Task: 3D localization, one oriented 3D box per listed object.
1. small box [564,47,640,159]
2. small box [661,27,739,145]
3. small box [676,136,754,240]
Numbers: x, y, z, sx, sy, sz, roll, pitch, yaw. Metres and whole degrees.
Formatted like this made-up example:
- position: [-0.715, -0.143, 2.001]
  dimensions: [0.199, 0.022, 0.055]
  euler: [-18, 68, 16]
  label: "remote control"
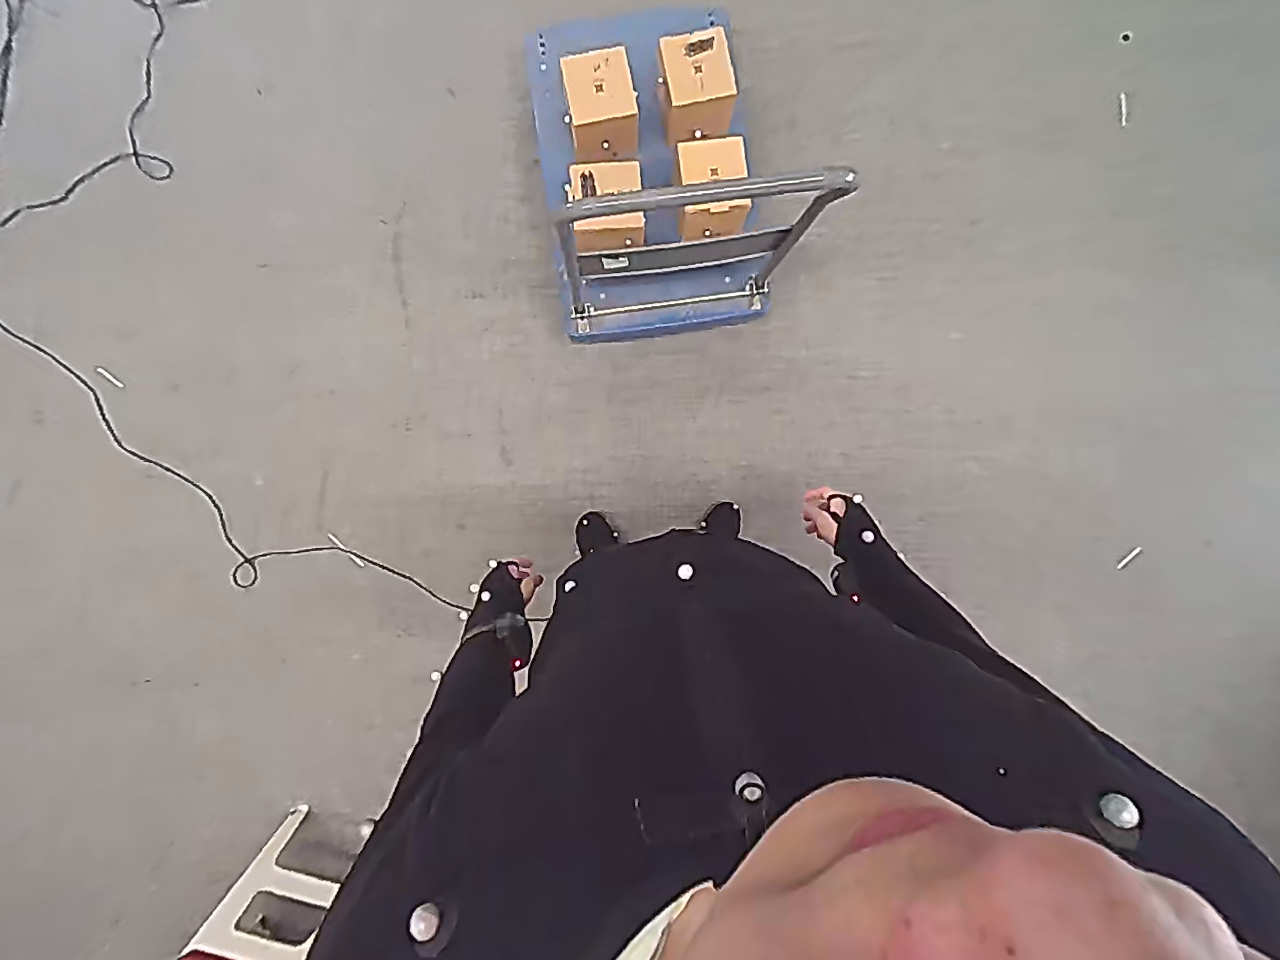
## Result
- position: [-0.094, -0.979, 1.424]
  dimensions: [0.168, 0.176, 0.179]
  euler: [-12, 89, -2]
  label: "small box"
- position: [0.152, -1.032, 1.428]
  dimensions: [0.168, 0.176, 0.179]
  euler: [-12, 90, 0]
  label: "small box"
- position: [0.191, -0.764, 1.425]
  dimensions: [0.168, 0.176, 0.179]
  euler: [-7, 89, -1]
  label: "small box"
